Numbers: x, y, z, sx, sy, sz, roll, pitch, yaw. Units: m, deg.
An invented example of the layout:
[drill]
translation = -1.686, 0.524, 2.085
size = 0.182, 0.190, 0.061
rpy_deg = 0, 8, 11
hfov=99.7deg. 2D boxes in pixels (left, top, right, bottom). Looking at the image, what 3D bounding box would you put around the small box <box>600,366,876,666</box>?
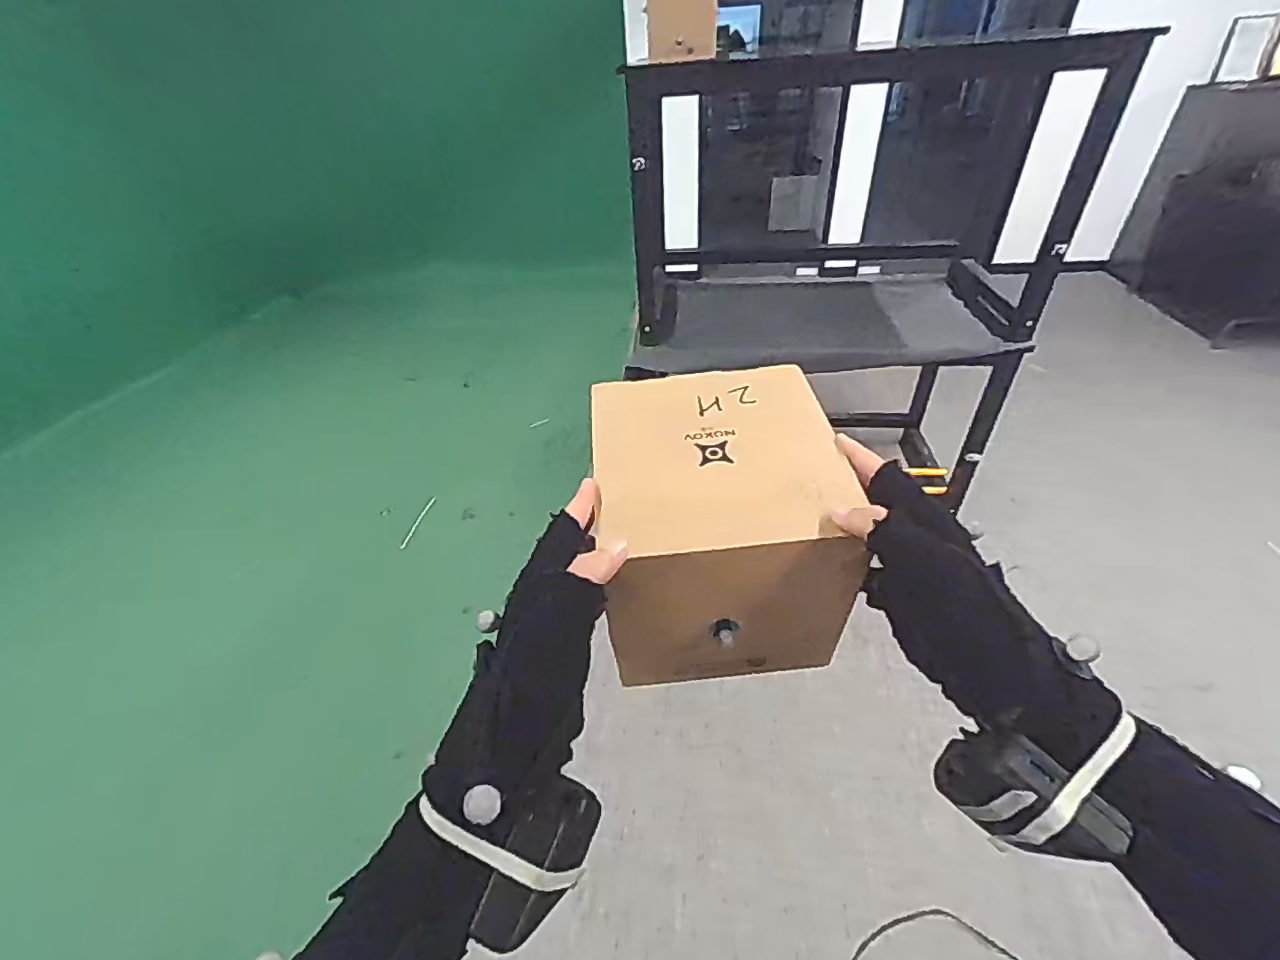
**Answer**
[small box]
translation = 0.060, 0.033, 0.431
size = 0.168, 0.176, 0.179
rpy_deg = -5, 44, 0
